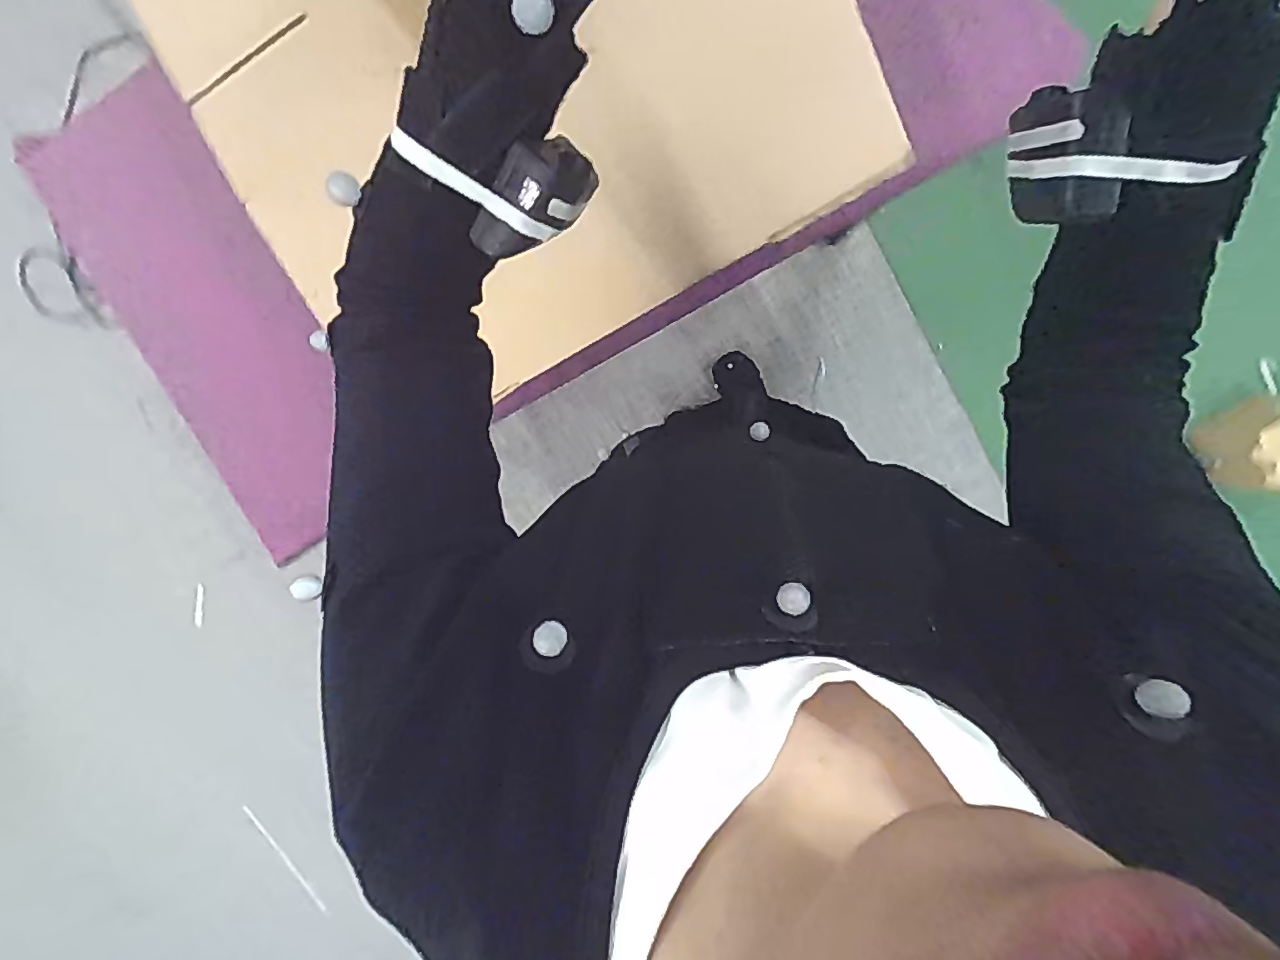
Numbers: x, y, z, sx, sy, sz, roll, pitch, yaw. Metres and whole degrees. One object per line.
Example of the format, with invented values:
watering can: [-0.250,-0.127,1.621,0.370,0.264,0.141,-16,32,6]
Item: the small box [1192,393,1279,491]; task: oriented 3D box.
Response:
small box: [1.483,-0.096,1.267,0.179,0.176,0.168,-31,95,9]
